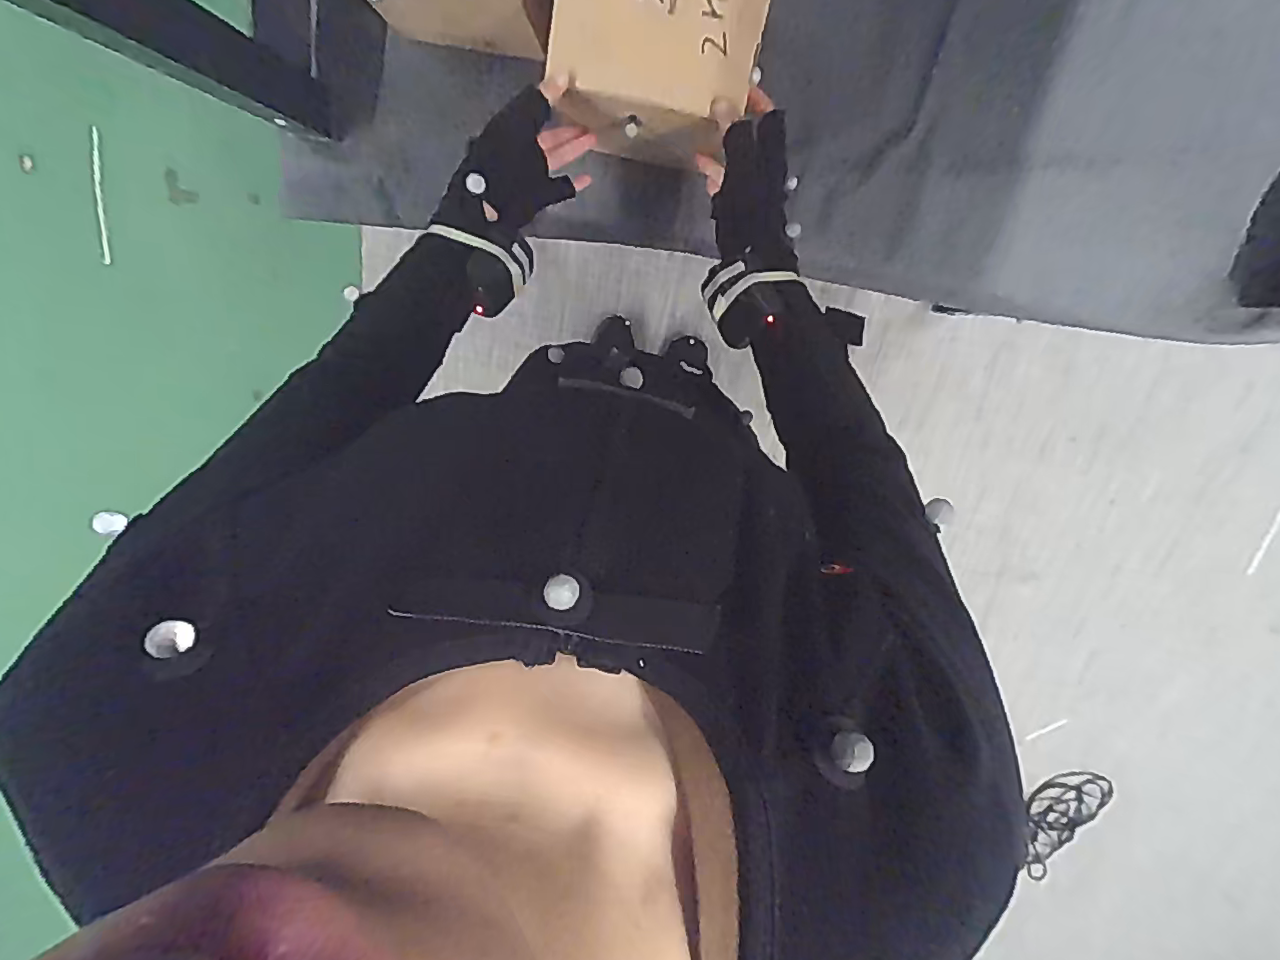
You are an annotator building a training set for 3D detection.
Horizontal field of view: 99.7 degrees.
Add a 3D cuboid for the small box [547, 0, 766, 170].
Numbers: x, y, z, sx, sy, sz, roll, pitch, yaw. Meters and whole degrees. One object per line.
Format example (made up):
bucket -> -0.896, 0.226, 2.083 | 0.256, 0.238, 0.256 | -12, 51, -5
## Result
small box -> 0.020, -0.427, 0.529 | 0.179, 0.176, 0.168 | 10, 106, -2
